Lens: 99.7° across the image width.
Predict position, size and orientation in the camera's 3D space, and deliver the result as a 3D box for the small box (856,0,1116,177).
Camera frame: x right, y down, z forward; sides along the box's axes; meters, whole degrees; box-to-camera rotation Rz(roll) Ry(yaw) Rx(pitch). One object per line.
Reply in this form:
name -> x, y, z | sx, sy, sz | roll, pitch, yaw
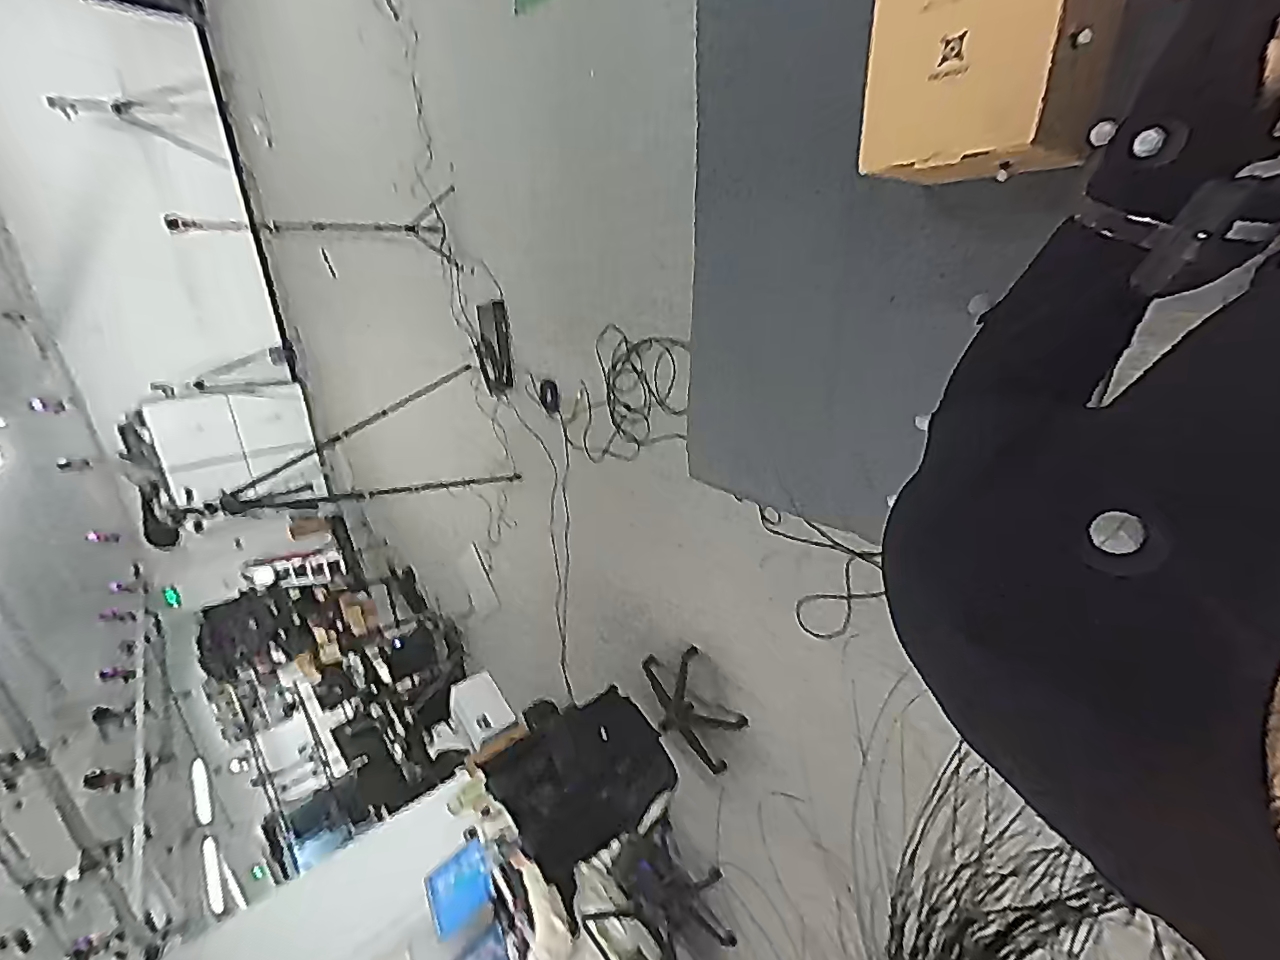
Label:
small box -> 0.342, -0.412, 0.541 | 0.168, 0.176, 0.179 | 20, 120, 45
